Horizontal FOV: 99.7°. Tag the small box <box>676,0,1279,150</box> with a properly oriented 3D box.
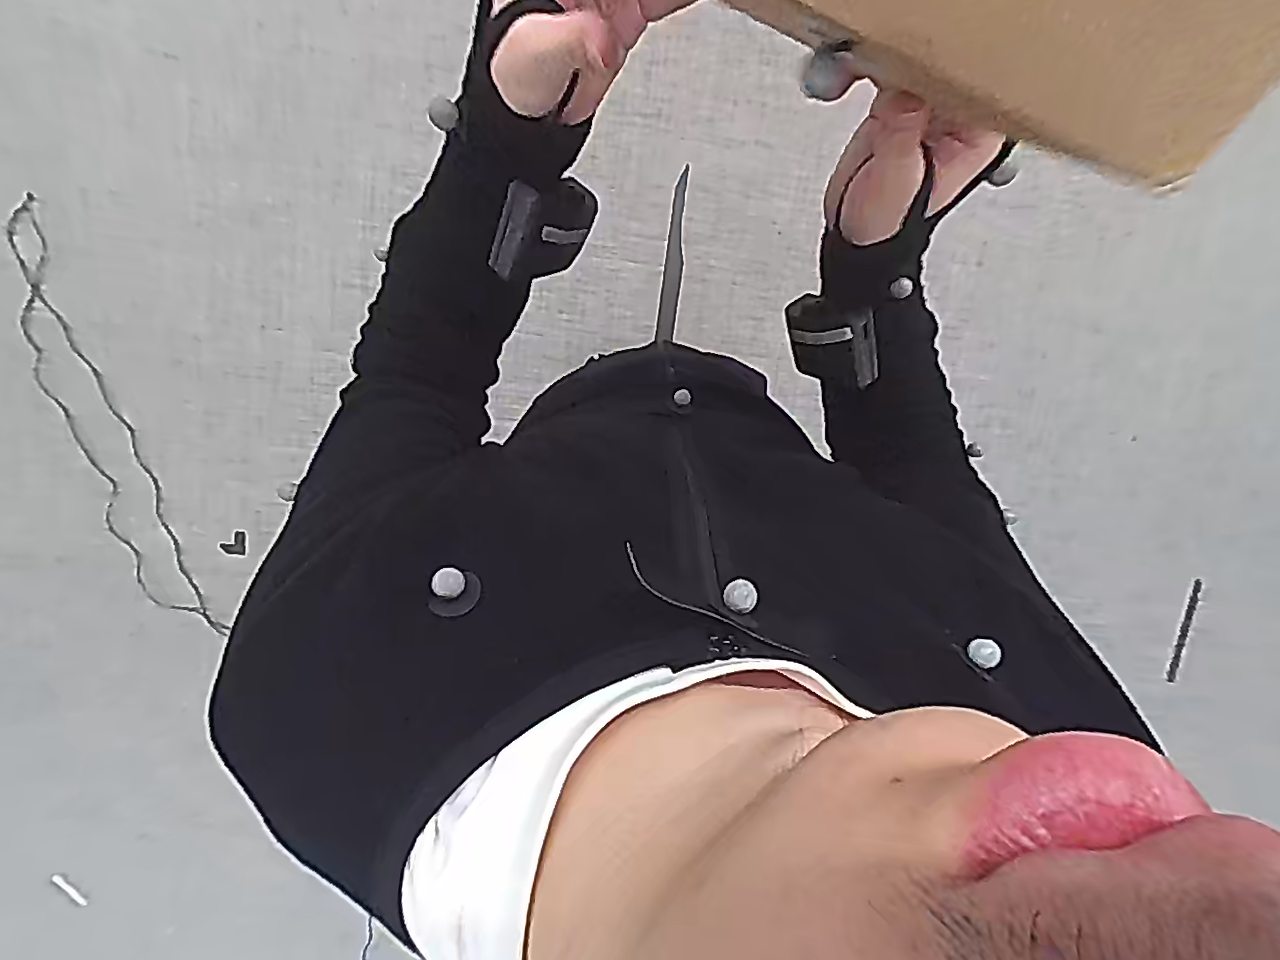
[{"bbox_3d":[0.088,-0.220,0.148,0.179,0.176,0.168,14,129,-10],"label":"small box"}]
